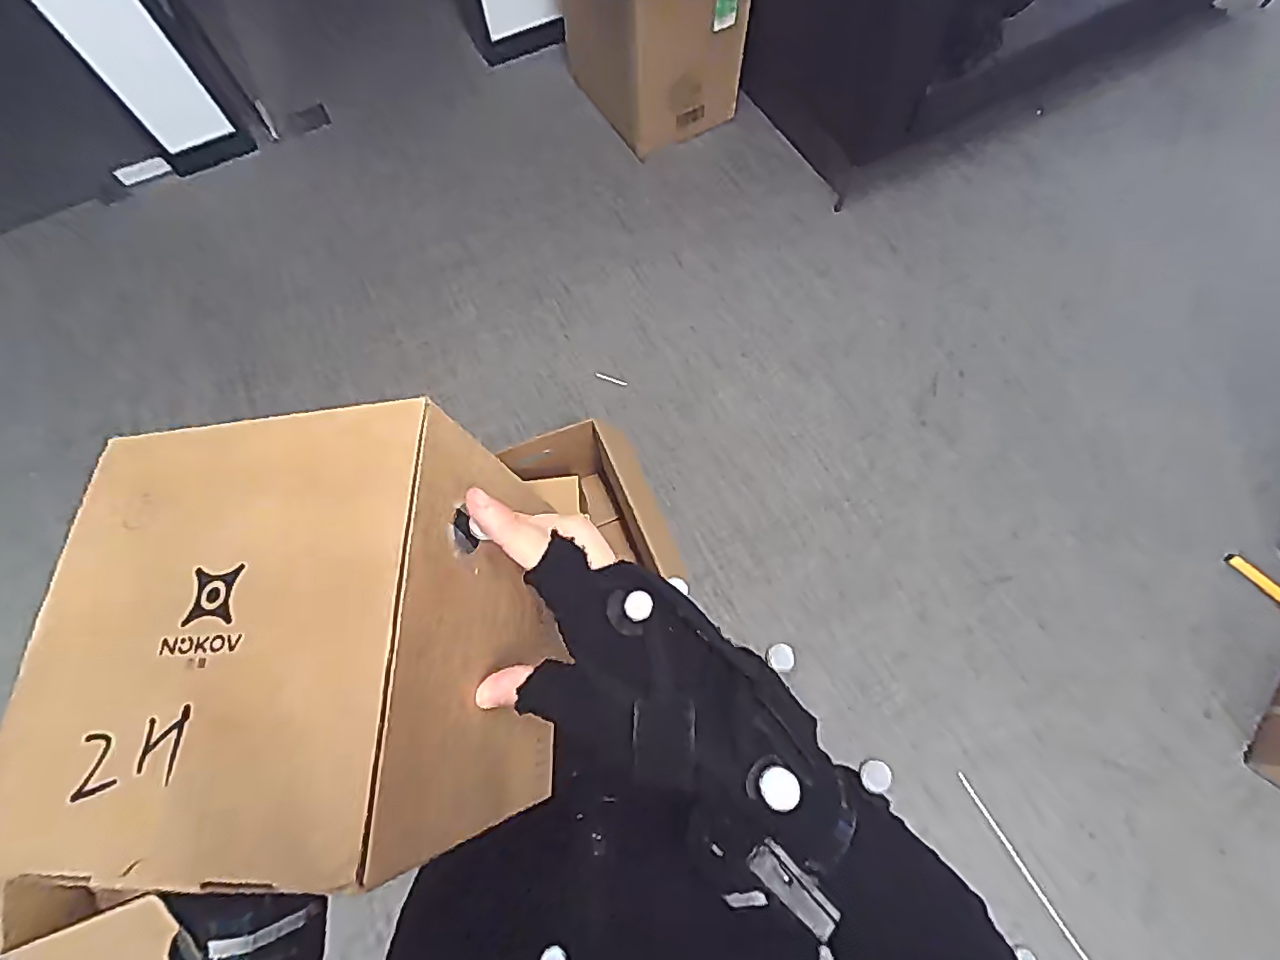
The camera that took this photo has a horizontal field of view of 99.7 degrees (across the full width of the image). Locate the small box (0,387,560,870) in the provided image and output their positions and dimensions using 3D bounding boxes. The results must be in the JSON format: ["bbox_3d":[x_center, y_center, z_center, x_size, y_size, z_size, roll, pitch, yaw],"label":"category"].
[{"bbox_3d":[-0.147,0.074,0.285,0.168,0.176,0.179,-5,69,10],"label":"small box"}]
